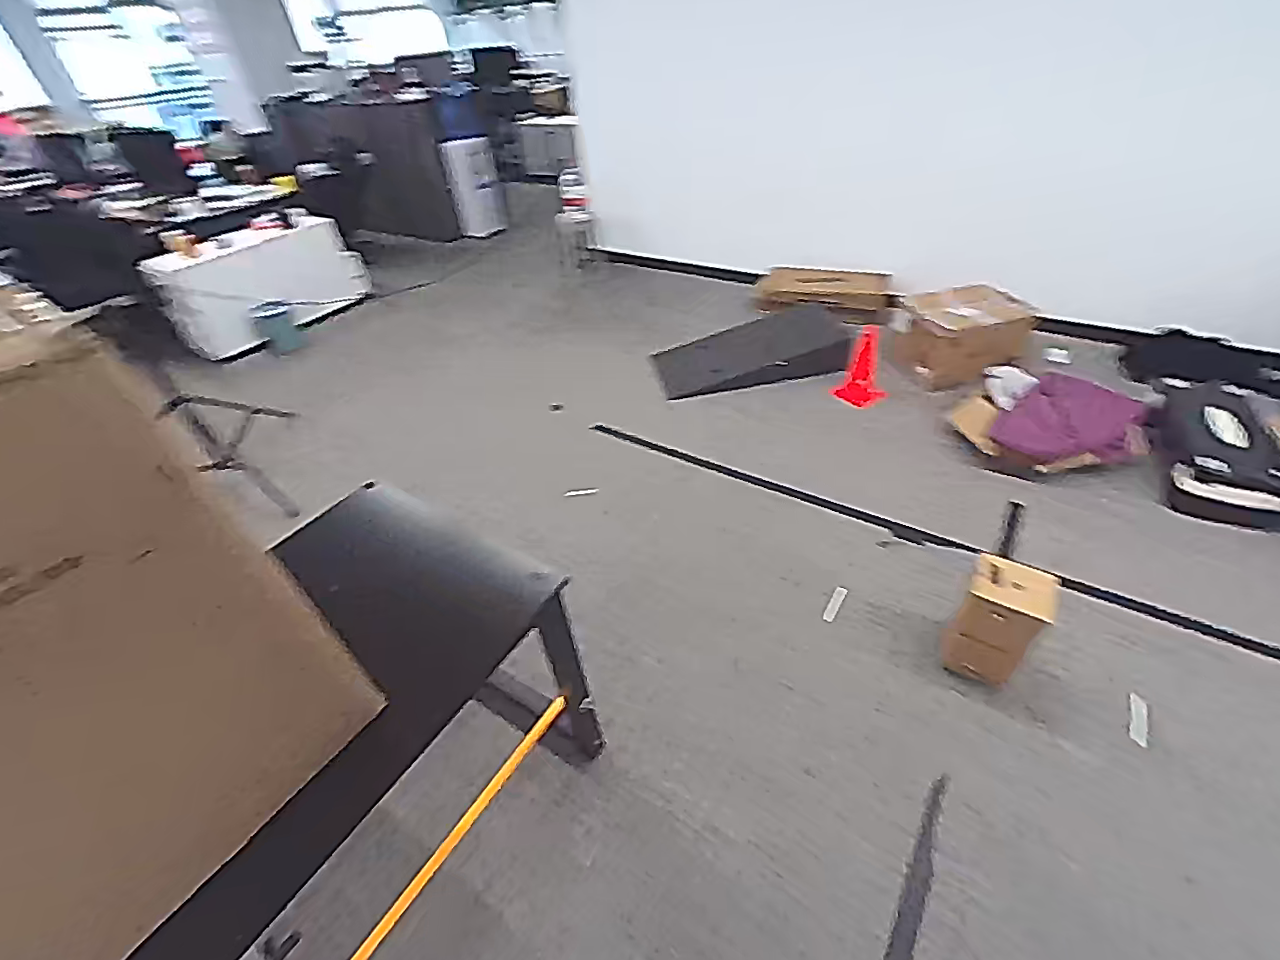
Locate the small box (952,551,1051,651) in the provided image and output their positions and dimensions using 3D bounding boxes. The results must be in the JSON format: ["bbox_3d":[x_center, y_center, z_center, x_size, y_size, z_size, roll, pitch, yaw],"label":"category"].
[{"bbox_3d":[0.965,0.328,1.453,0.179,0.176,0.168,20,47,27],"label":"small box"}]

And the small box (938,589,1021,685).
[{"bbox_3d":[0.977,0.453,1.560,0.168,0.176,0.179,16,46,24],"label":"small box"}]
